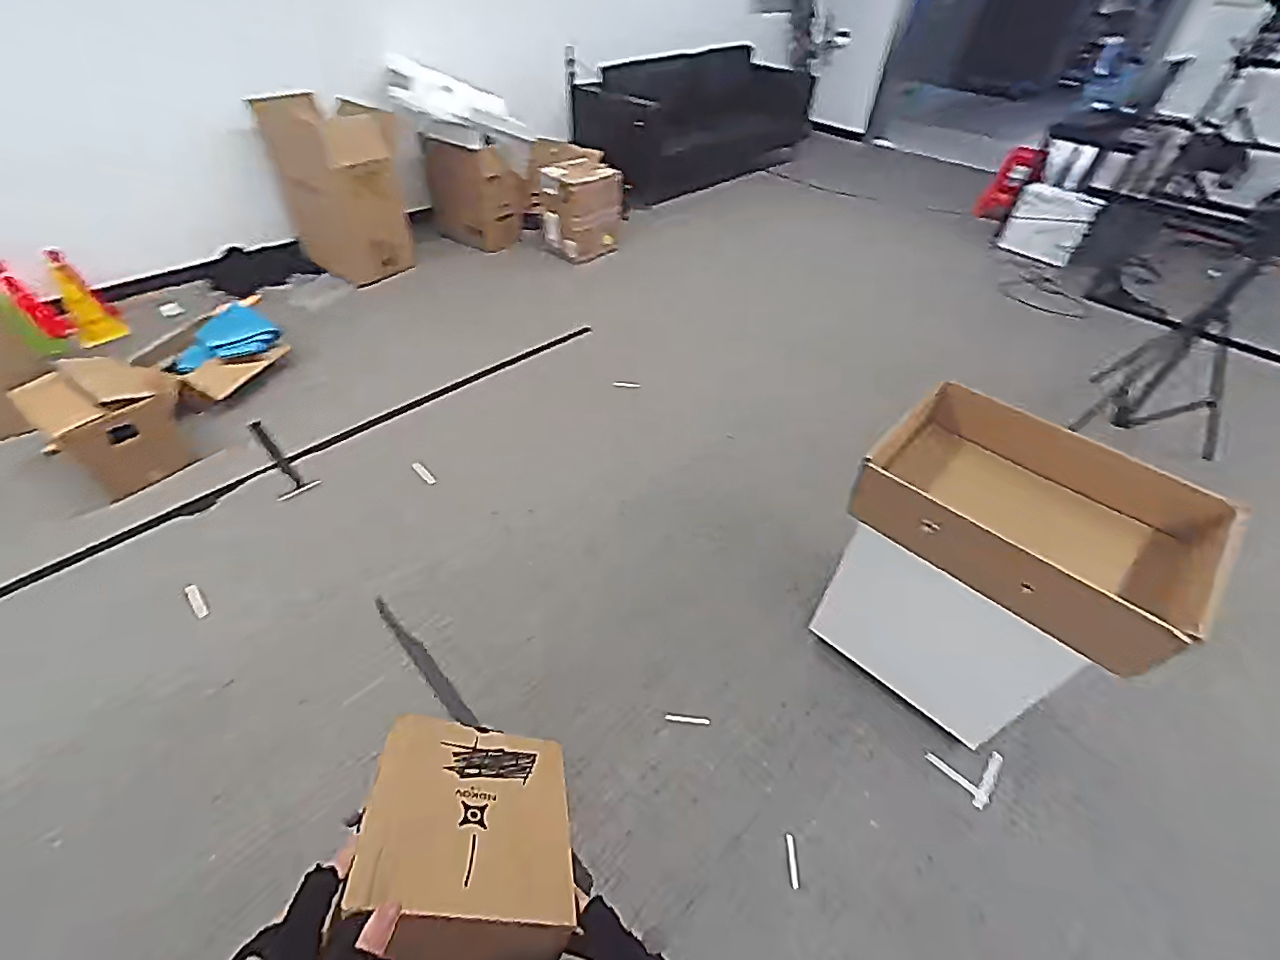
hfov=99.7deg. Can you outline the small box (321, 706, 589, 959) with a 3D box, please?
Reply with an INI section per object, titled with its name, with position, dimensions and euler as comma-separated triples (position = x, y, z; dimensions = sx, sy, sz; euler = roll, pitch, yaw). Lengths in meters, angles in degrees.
[small box]
position = -0.158, 0.338, 0.468
dimensions = 0.168, 0.176, 0.179
euler = 21, 13, -17
